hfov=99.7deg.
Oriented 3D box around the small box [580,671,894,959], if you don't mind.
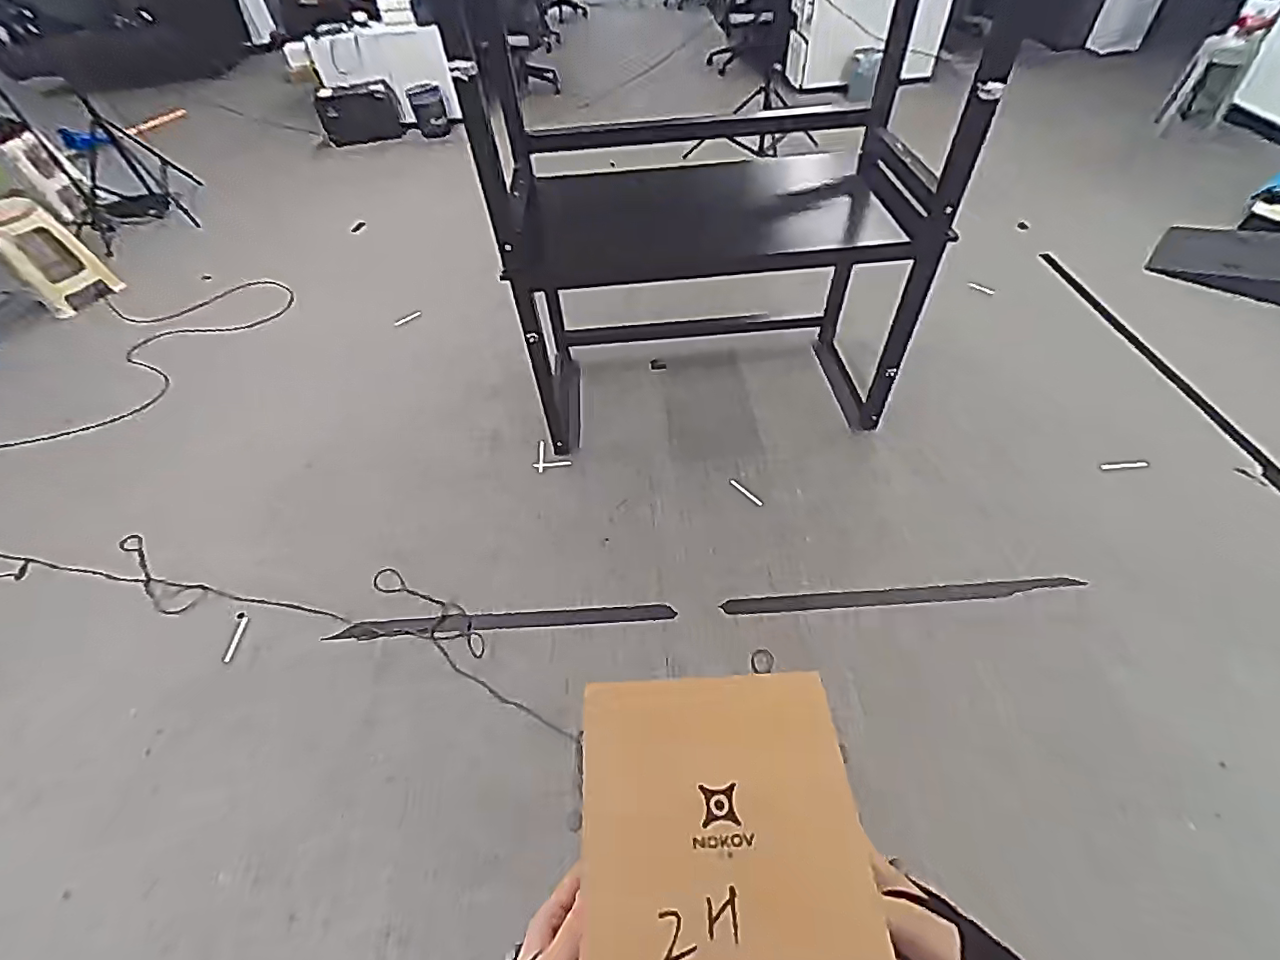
[{"bbox_3d":[0.050,0.255,0.382,0.168,0.176,0.179,-3,49,0],"label":"small box"}]
